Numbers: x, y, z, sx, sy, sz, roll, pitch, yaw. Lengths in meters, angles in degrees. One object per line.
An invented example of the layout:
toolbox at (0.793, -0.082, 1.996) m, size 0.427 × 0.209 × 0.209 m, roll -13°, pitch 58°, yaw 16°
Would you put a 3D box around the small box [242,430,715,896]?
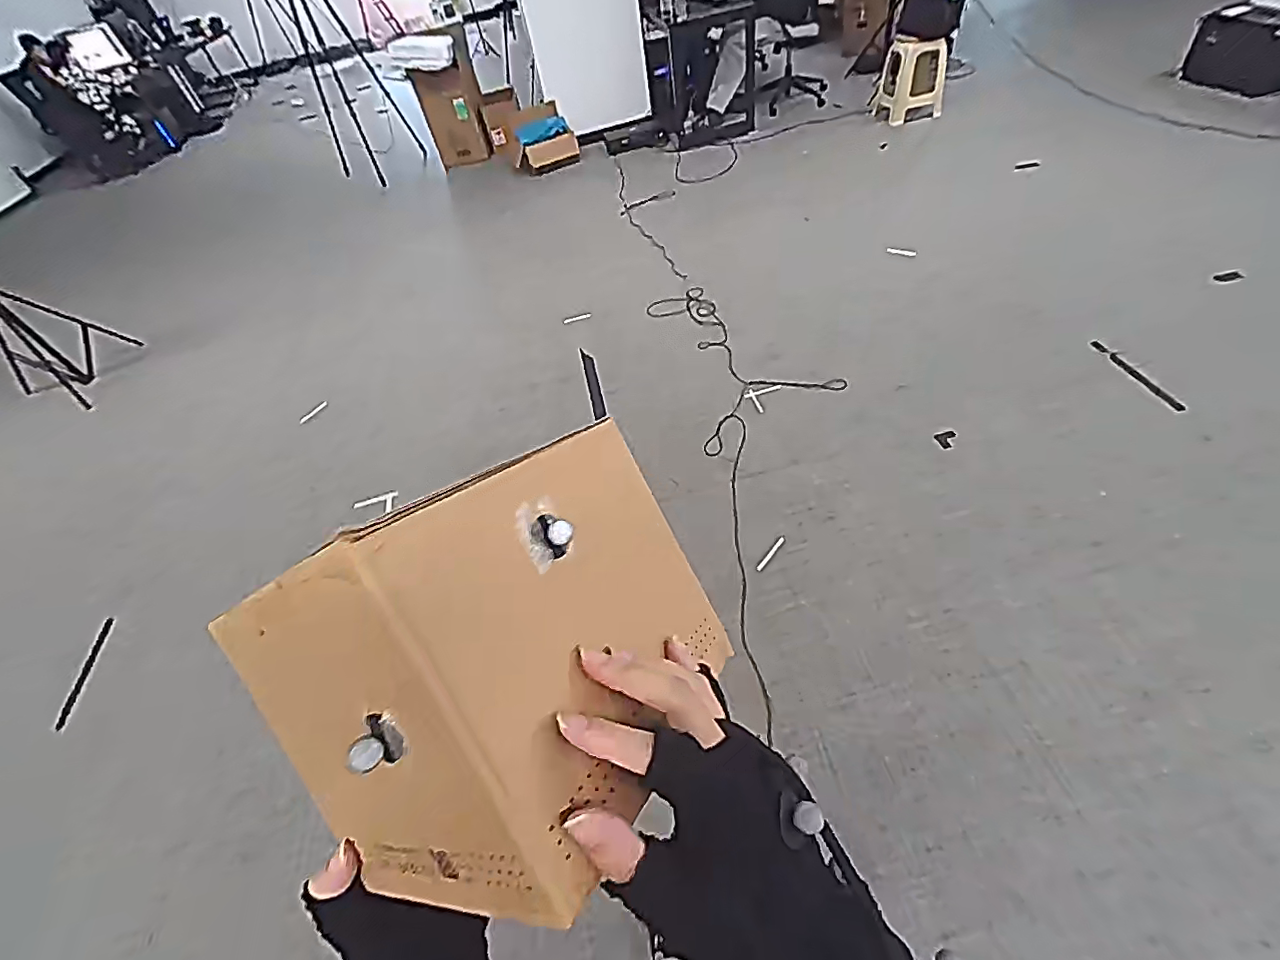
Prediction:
small box at (-0.081, 0.097, 0.322) m, size 0.168 × 0.176 × 0.179 m, roll -24°, pitch 6°, yaw 37°
